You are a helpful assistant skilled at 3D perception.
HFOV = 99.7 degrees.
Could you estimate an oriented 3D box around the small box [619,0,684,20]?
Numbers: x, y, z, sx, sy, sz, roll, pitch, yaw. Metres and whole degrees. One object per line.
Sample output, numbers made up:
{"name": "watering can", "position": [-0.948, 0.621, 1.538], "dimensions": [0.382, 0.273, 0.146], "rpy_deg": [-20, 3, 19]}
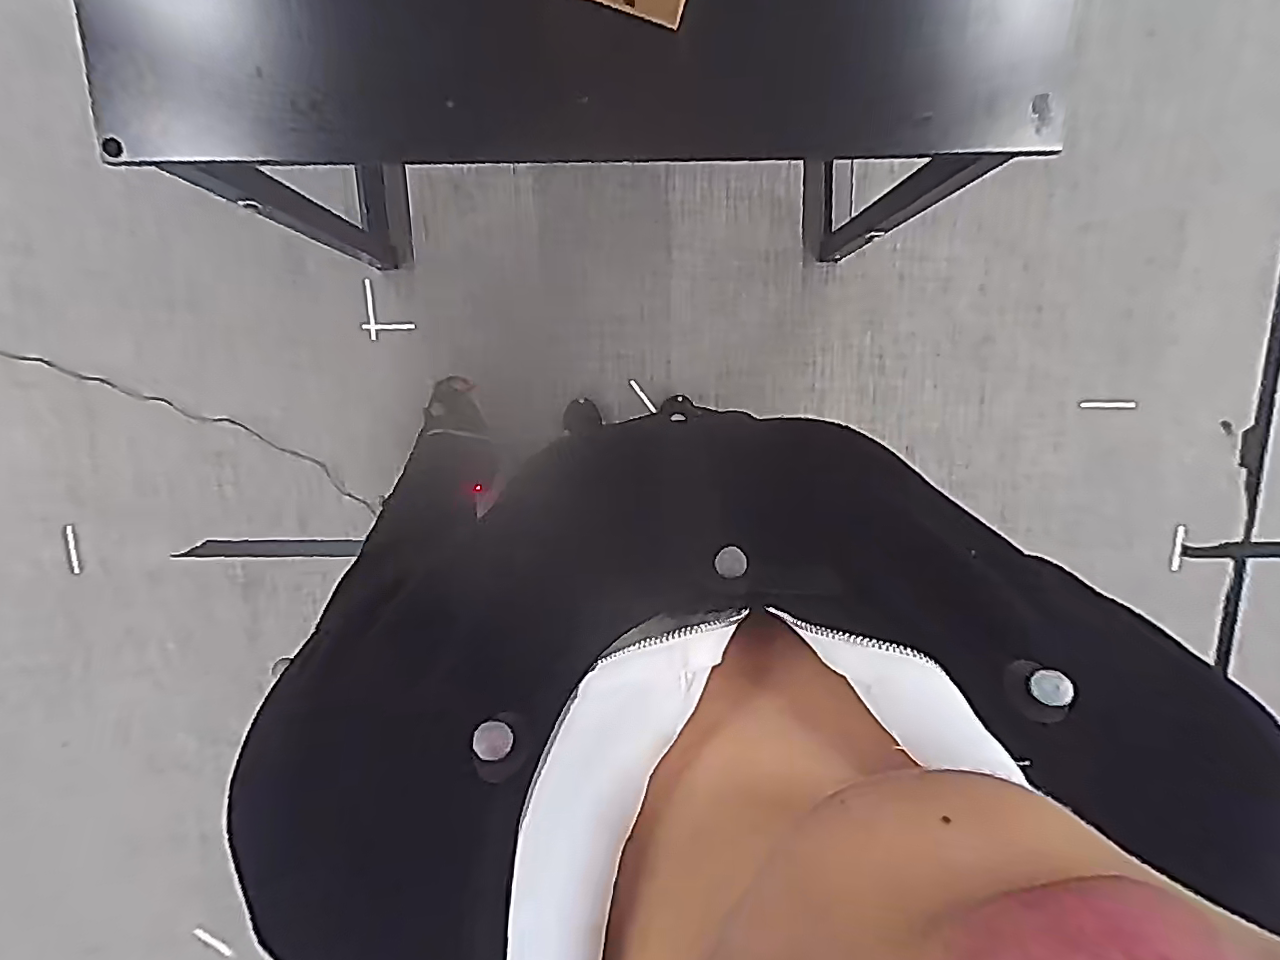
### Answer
{"name": "small box", "position": [-0.006, -0.645, 0.566], "dimensions": [0.168, 0.176, 0.179], "rpy_deg": [17, 99, -5]}
